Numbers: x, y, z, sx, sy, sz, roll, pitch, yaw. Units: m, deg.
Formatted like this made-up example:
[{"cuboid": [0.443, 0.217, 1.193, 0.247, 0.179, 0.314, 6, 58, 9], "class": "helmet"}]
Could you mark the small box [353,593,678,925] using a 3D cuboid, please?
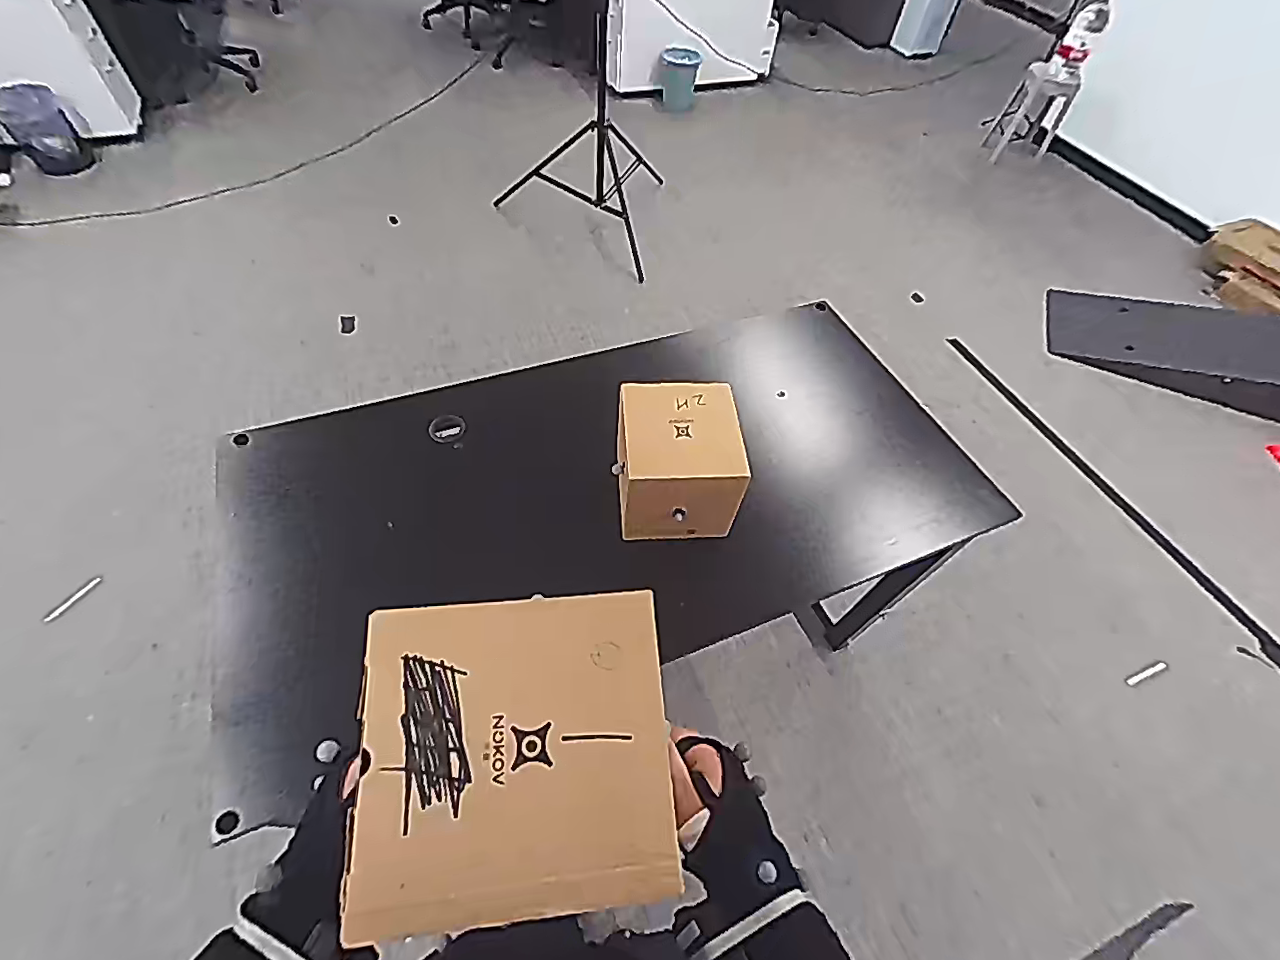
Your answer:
[{"cuboid": [-0.077, 0.184, 0.392, 0.179, 0.176, 0.168, -3, 68, -7], "class": "small box"}]

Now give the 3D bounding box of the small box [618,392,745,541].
[{"cuboid": [0.053, -0.016, 0.834, 0.168, 0.176, 0.179, -1, 54, -6], "class": "small box"}]
